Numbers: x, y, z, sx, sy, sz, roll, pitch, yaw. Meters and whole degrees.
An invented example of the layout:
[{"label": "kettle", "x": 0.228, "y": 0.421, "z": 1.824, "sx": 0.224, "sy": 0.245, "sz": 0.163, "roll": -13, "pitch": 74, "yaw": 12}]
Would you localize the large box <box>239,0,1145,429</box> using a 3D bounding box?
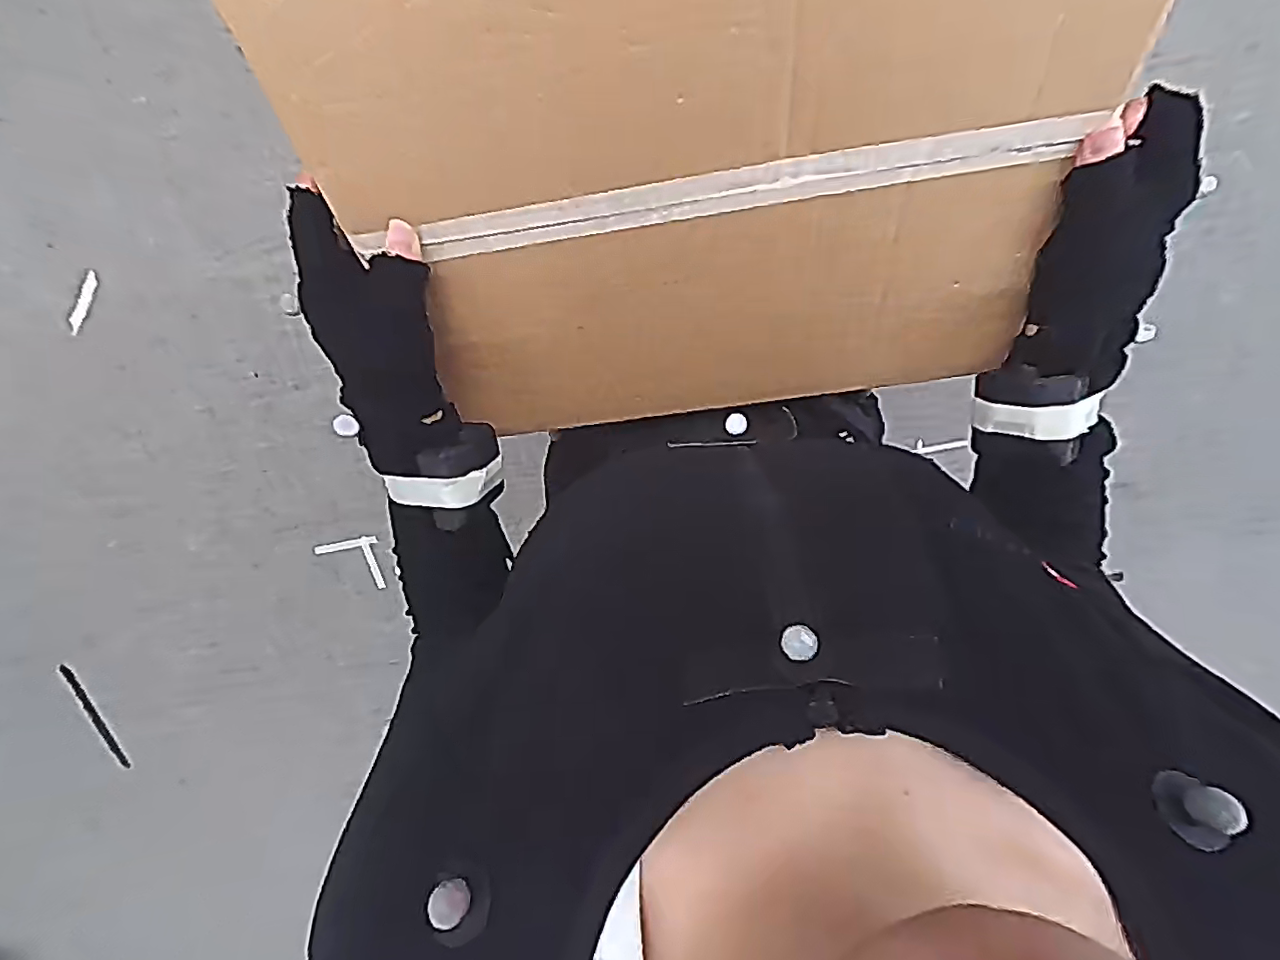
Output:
[{"label": "large box", "x": 0.030, "y": -0.275, "z": 0.397, "sx": 0.408, "sy": 0.320, "sz": 0.320, "roll": -7, "pitch": 141, "yaw": 4}]
